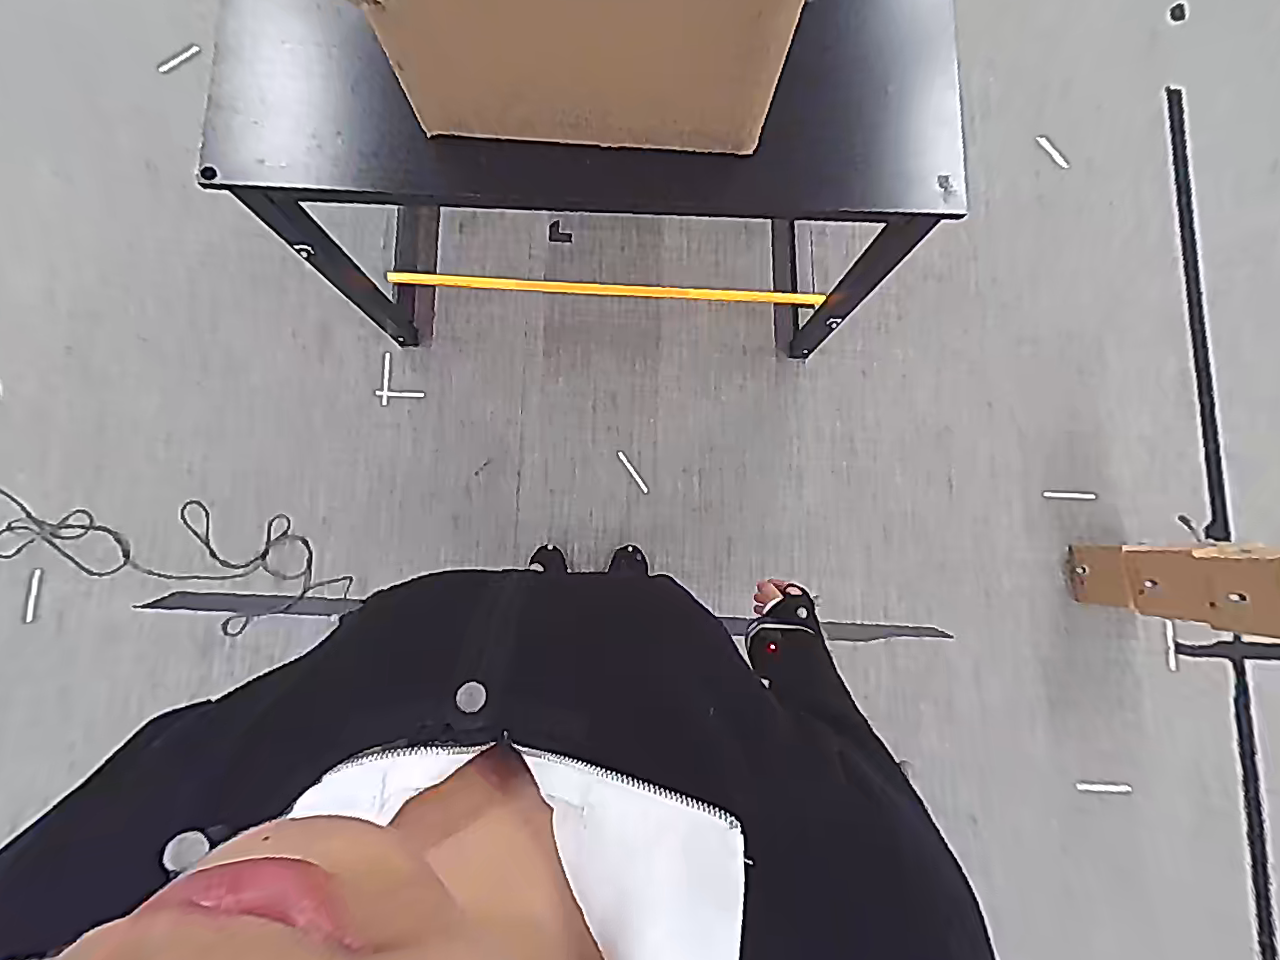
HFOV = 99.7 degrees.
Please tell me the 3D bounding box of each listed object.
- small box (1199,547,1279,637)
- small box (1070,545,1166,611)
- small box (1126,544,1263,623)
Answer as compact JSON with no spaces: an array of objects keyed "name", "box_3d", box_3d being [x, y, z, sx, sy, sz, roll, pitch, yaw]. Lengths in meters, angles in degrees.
[{"name":"small box","box_3d":[1.341,0.233,1.135,0.179,0.176,0.168,-8,82,-3]},{"name":"small box","box_3d":[1.321,0.260,1.463,0.179,0.176,0.168,-1,82,-1]},{"name":"small box","box_3d":[1.339,0.242,1.299,0.179,0.176,0.168,-6,82,-3]}]
